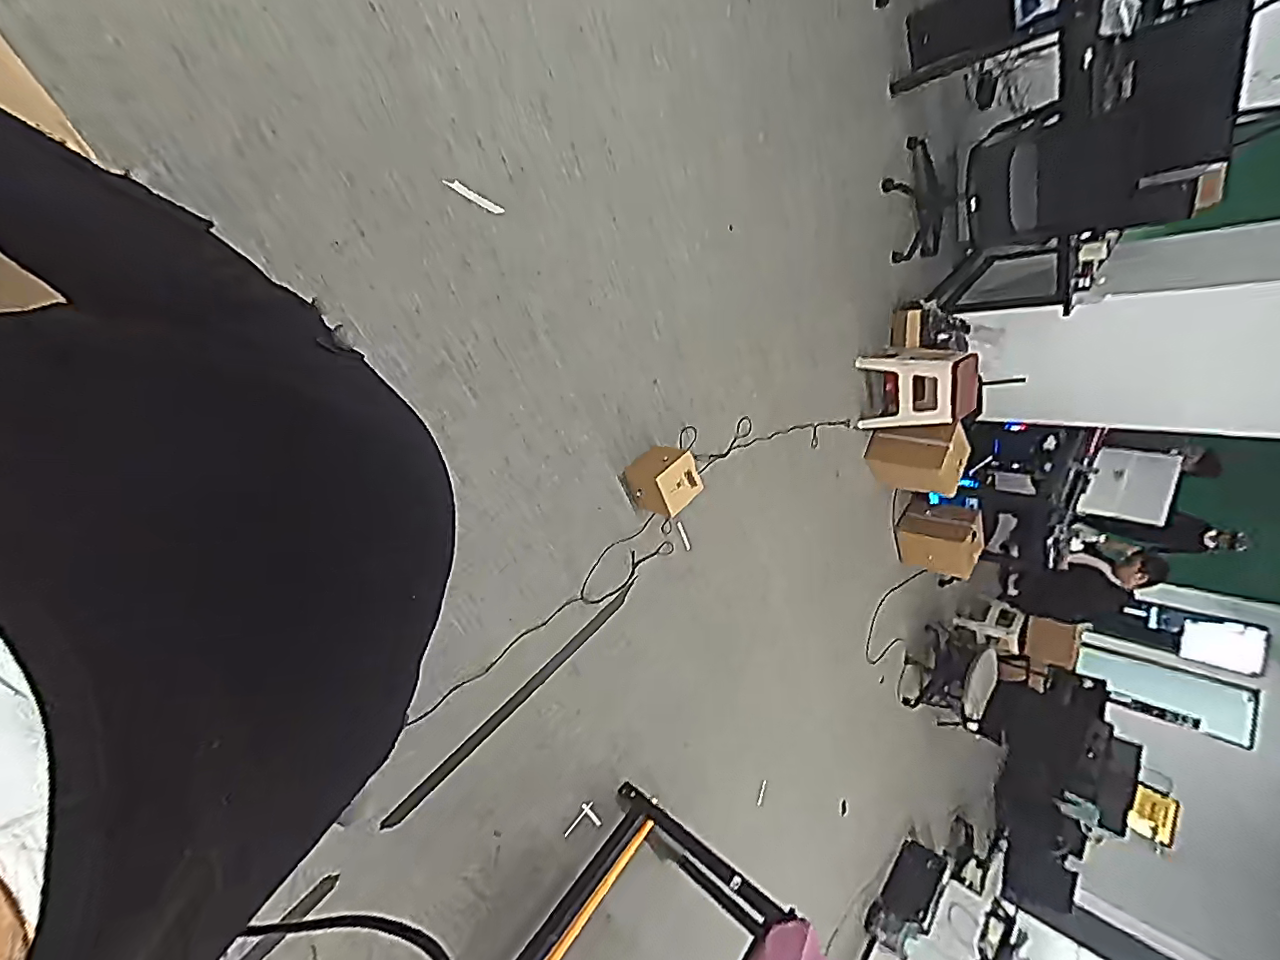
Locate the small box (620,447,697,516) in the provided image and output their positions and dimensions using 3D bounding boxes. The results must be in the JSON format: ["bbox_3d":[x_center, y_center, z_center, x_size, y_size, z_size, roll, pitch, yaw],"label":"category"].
[{"bbox_3d":[0.064,-0.002,1.873,0.179,0.176,0.168,-41,123,-29],"label":"small box"}]
